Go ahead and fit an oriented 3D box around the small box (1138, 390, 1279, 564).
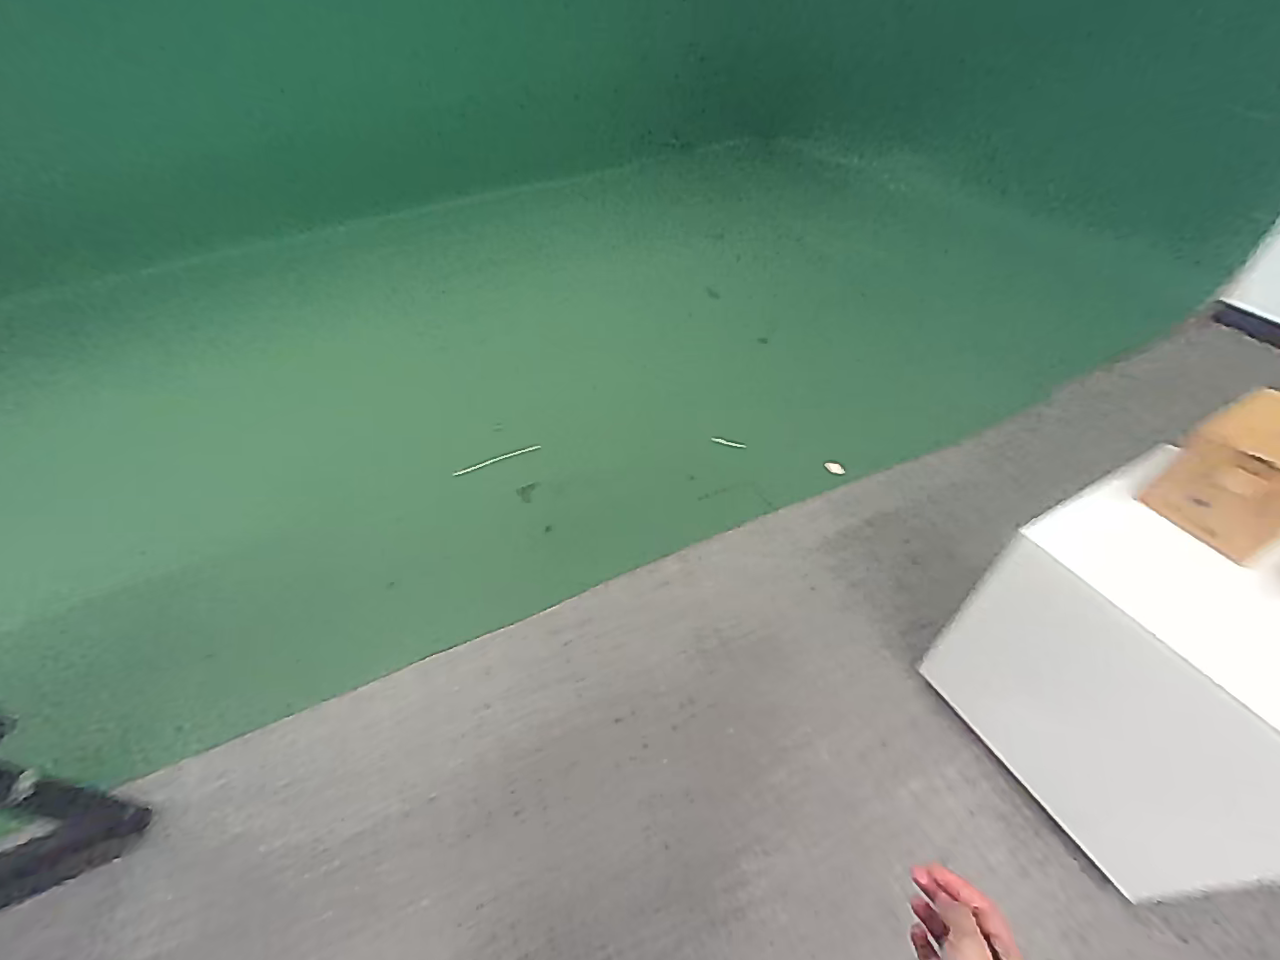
[{"bbox_3d":[0.943,-0.004,0.837,0.179,0.176,0.168,-25,51,-15],"label":"small box"}]
